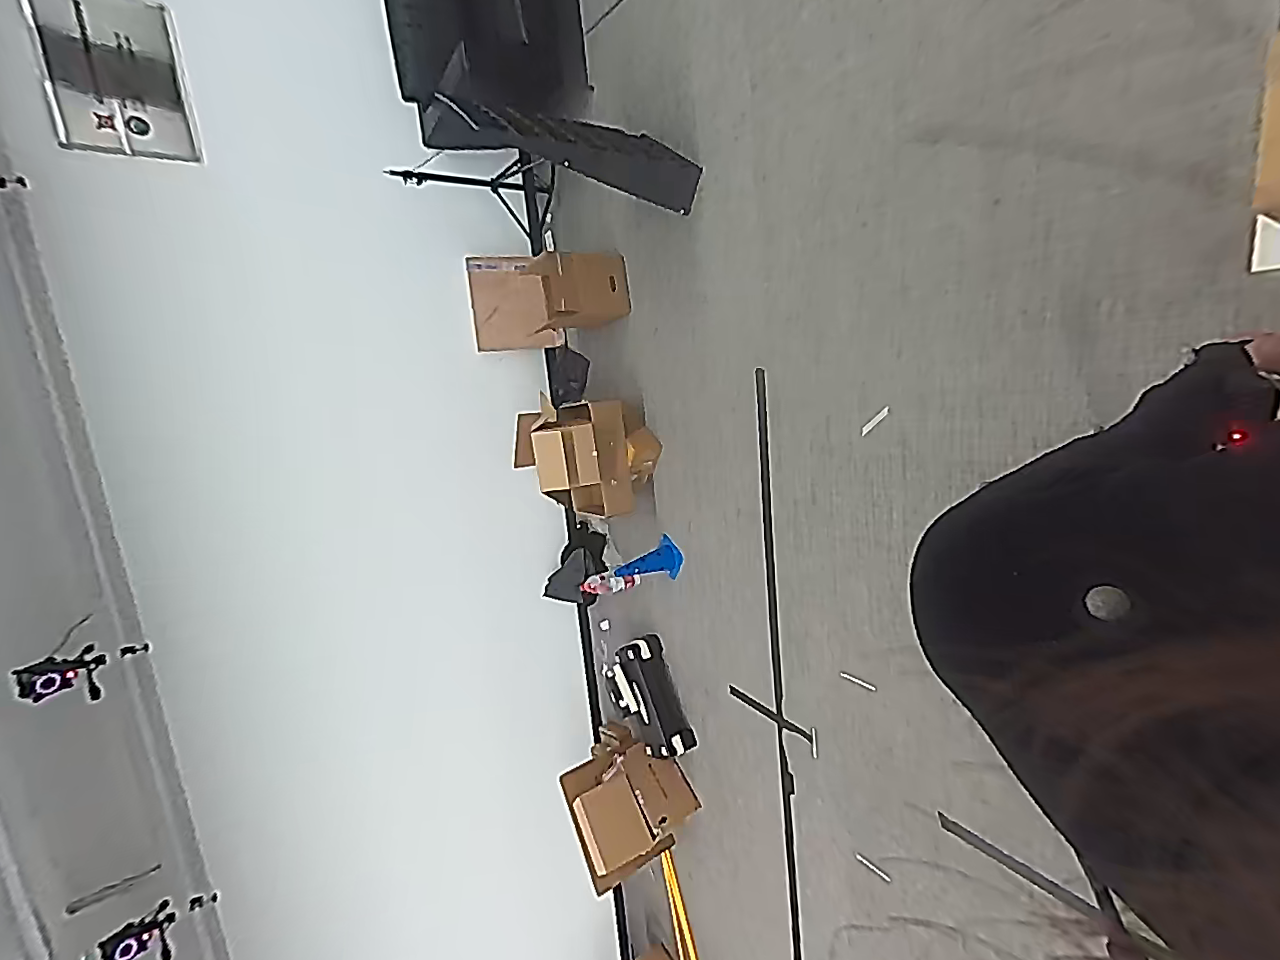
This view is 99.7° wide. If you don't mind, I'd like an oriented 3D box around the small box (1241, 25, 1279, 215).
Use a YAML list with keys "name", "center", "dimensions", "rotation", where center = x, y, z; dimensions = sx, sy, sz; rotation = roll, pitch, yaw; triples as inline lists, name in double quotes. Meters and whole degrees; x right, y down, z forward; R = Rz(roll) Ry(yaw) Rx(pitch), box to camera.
- name: "small box"
  center: [0.764, -0.385, 0.553]
  dimensions: [0.168, 0.176, 0.179]
  rotation: [12, 110, 56]
